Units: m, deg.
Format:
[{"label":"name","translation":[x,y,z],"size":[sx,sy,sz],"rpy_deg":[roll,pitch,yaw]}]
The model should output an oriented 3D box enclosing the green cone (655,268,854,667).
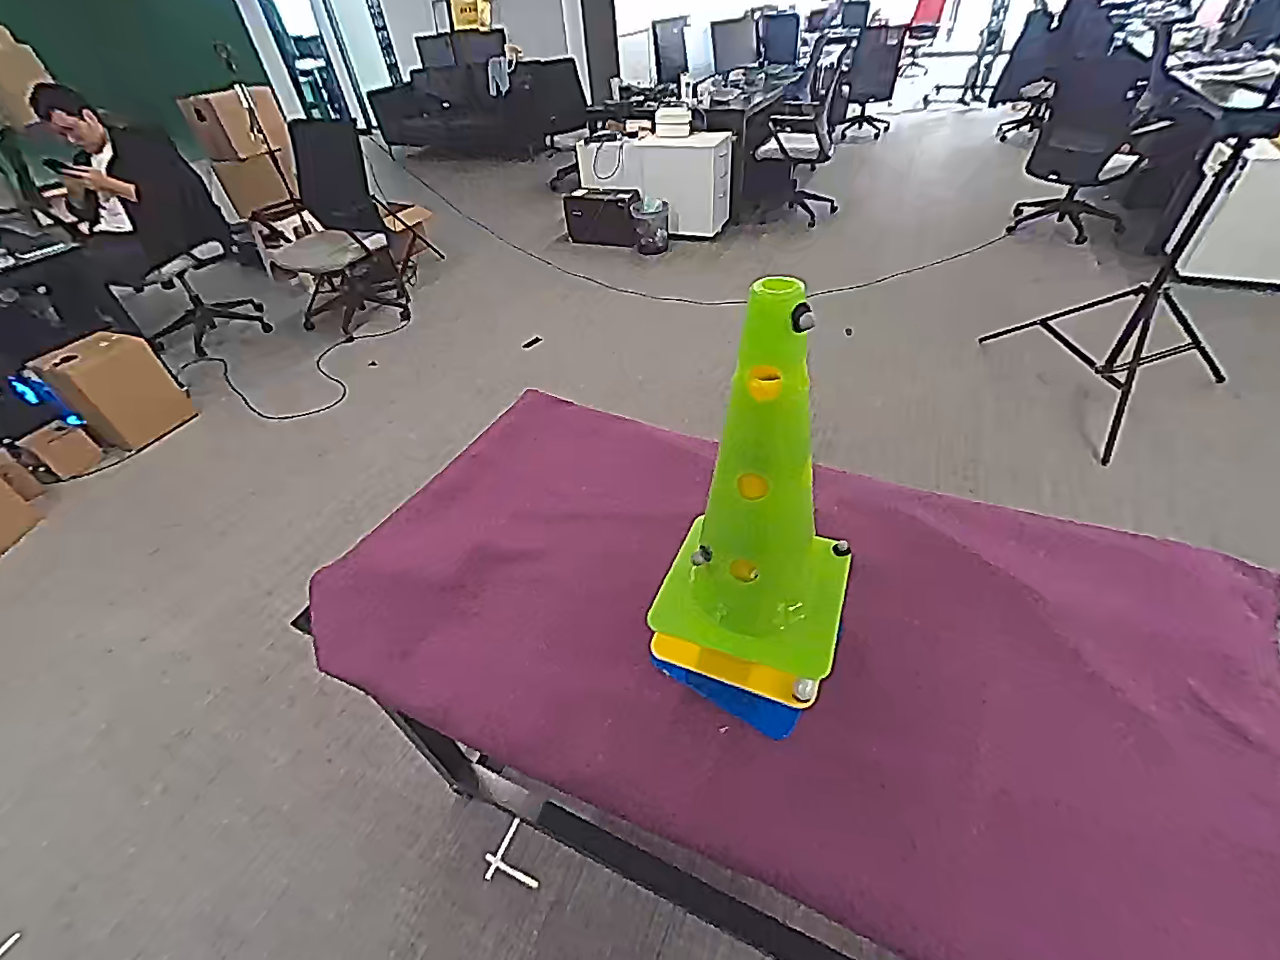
[{"label":"green cone","translation":[0.120,-0.019,0.526],"size":[0.200,0.368,0.202],"rpy_deg":[11,43,21]}]
